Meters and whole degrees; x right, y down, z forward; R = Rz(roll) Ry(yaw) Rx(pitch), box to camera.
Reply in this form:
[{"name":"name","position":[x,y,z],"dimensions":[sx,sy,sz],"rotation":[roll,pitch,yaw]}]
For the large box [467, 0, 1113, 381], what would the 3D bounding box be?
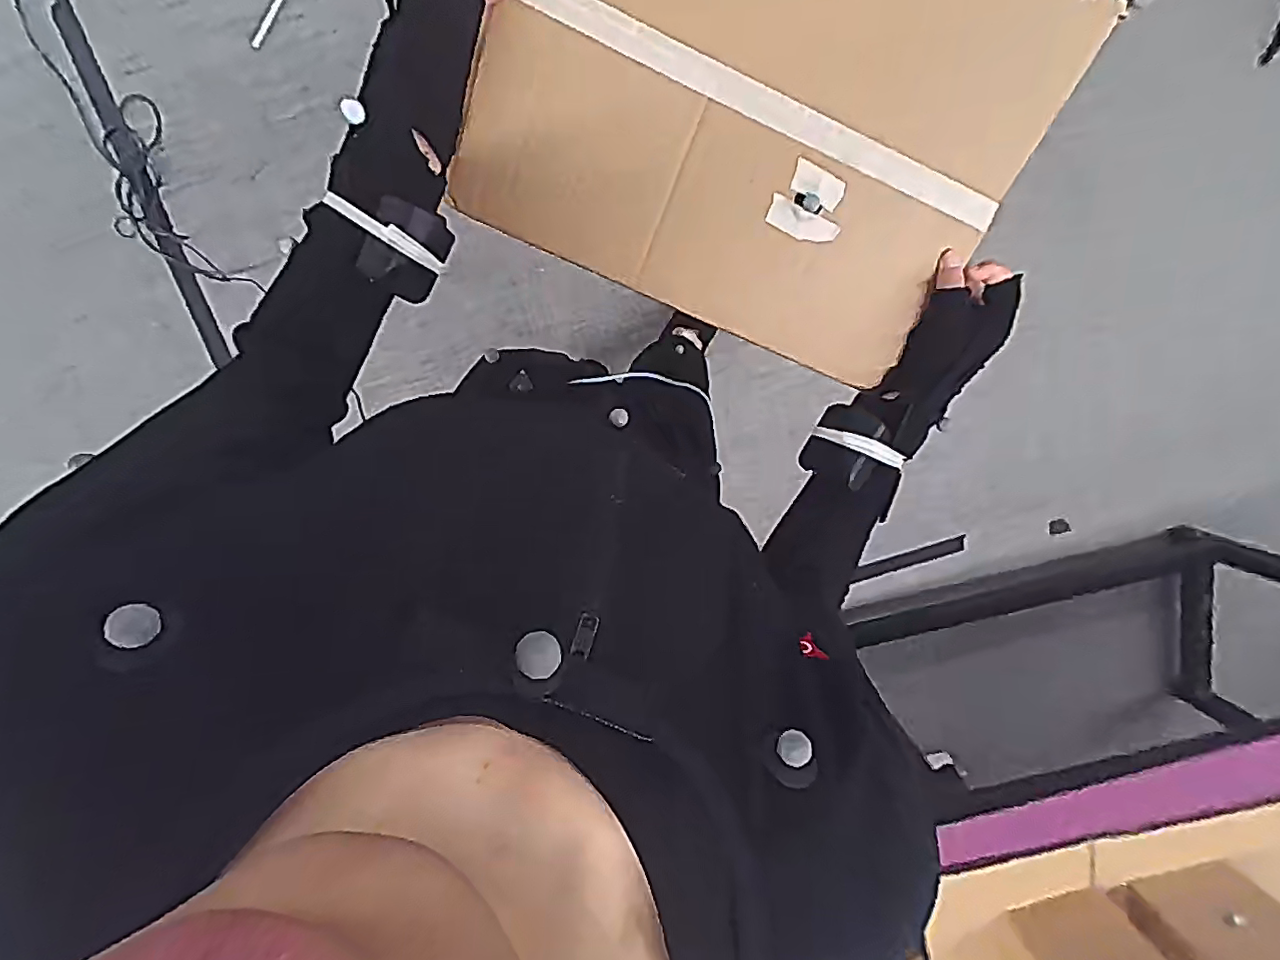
[{"name":"large box","position":[0.097,-0.348,0.545],"dimensions":[0.408,0.320,0.320],"rotation":[22,115,-9]}]
